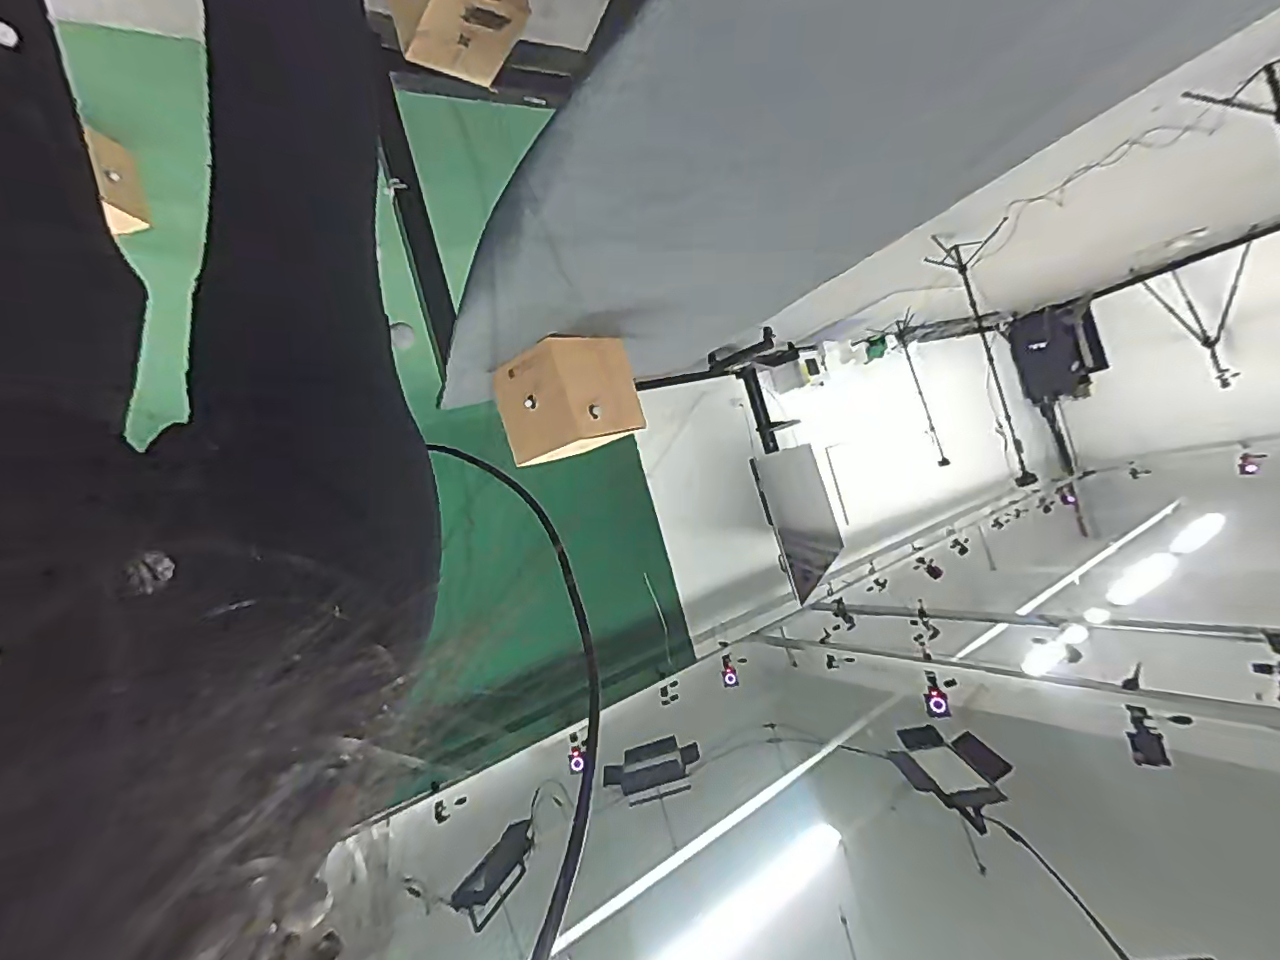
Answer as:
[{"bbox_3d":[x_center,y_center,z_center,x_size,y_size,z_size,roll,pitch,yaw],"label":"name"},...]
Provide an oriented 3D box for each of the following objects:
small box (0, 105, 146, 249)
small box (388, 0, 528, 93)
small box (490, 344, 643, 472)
[{"bbox_3d":[-1.157,-0.595,1.076,0.168,0.176,0.179,-16,179,2],"label":"small box"},{"bbox_3d":[-0.323,-0.831,0.933,0.168,0.176,0.179,-14,179,-43],"label":"small box"},{"bbox_3d":[-0.128,-0.126,0.929,0.168,0.176,0.179,-17,-179,39],"label":"small box"}]
